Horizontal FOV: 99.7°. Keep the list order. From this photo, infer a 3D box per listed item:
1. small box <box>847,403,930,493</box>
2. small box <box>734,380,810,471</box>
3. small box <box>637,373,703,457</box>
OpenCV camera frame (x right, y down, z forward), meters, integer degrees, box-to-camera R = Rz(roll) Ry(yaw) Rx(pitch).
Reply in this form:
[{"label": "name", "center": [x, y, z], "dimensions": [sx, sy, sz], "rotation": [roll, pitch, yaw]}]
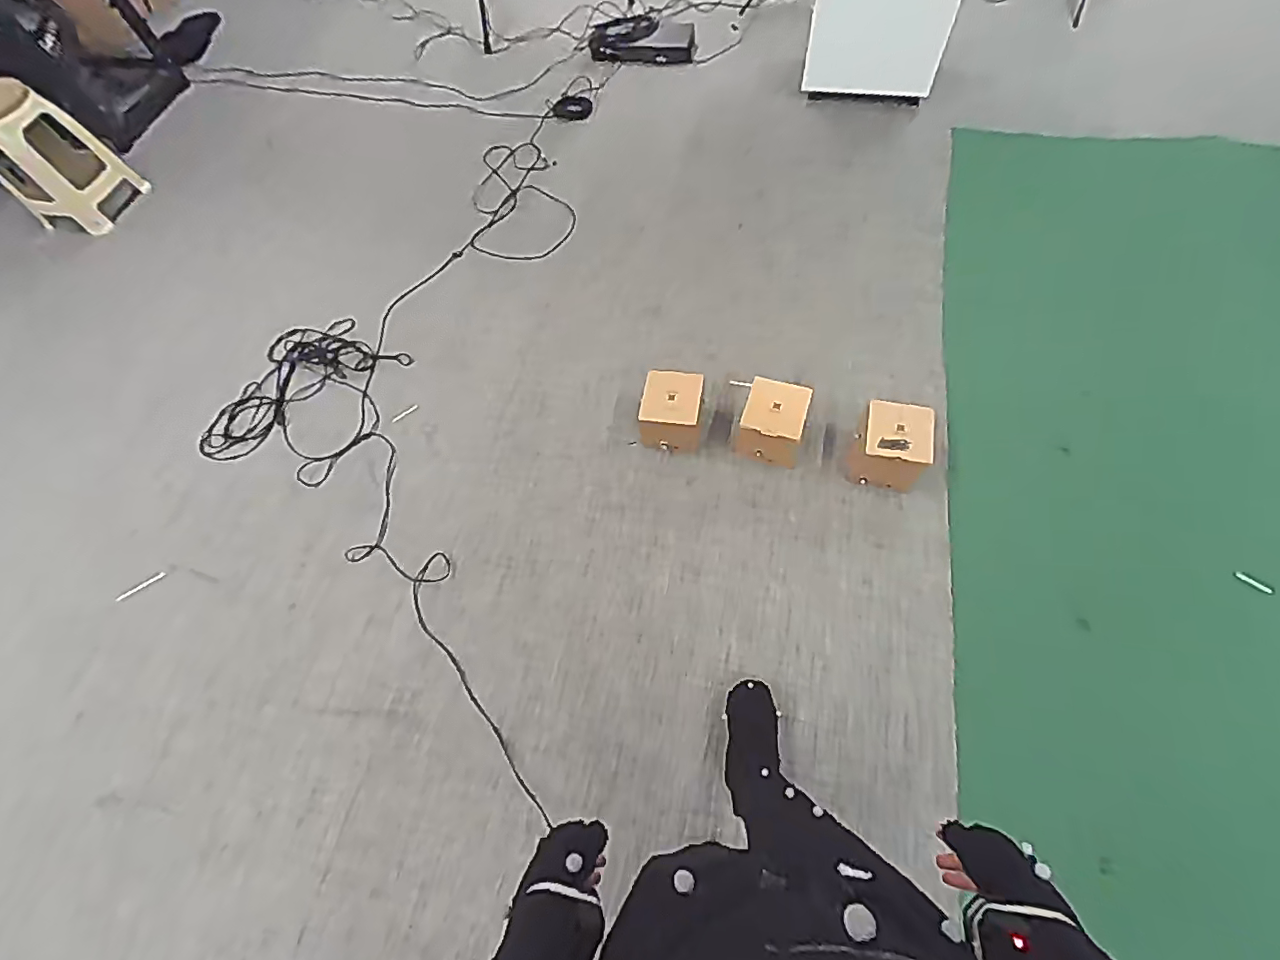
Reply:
[{"label": "small box", "center": [0.678, -0.083, 1.488], "dimensions": [0.168, 0.176, 0.179], "rotation": [11, 64, 10]}, {"label": "small box", "center": [0.373, -0.153, 1.550], "dimensions": [0.168, 0.176, 0.179], "rotation": [15, 66, 12]}, {"label": "small box", "center": [0.093, -0.189, 1.593], "dimensions": [0.168, 0.176, 0.179], "rotation": [6, 66, 10]}]
